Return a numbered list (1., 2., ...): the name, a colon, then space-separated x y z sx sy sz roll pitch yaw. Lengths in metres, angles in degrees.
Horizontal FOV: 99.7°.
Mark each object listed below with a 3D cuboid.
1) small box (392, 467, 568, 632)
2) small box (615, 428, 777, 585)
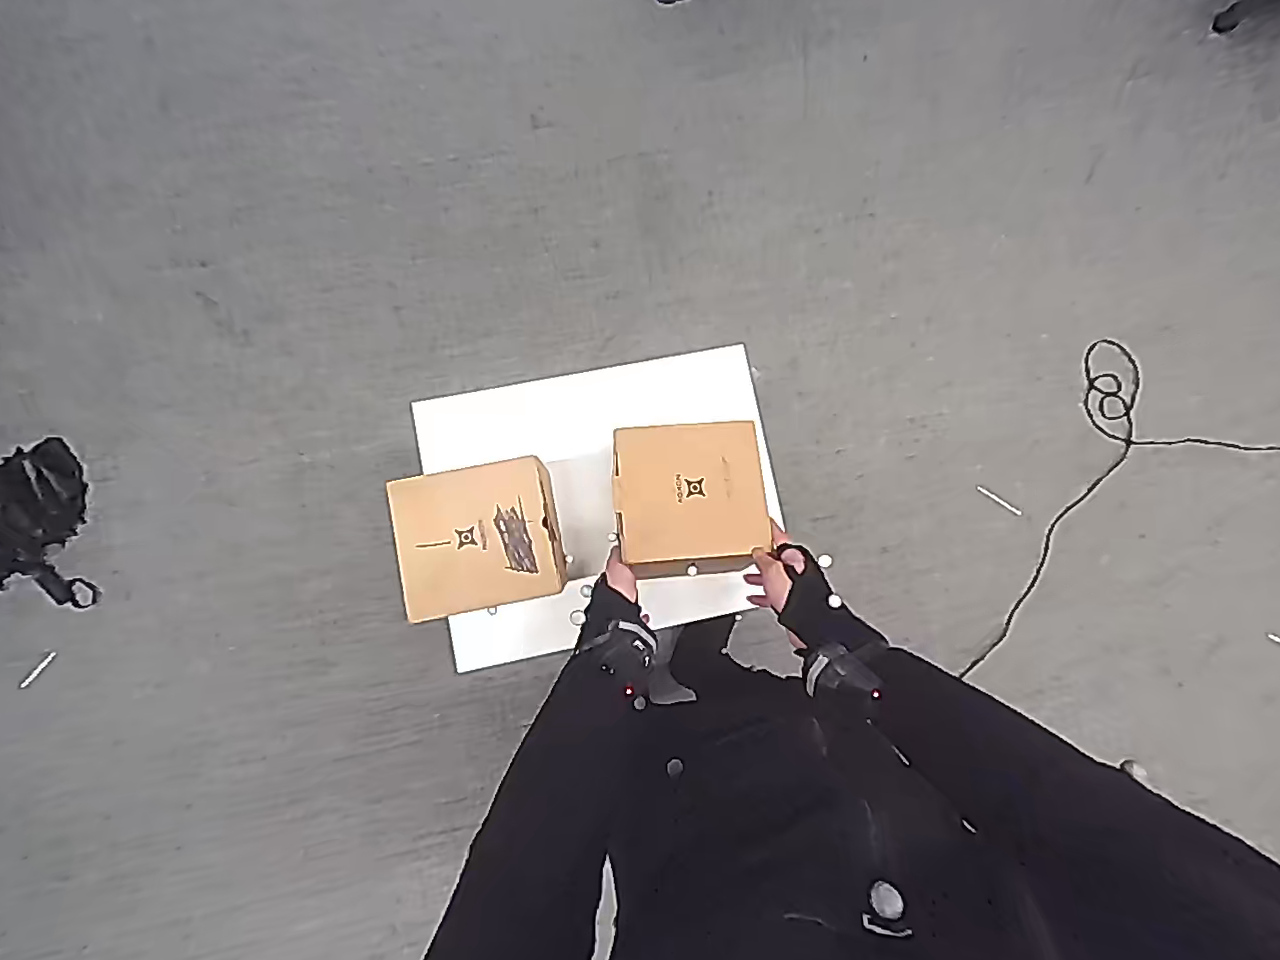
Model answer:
1. small box: -0.192 0.085 0.700 0.179 0.176 0.168 -11 84 -5
2. small box: 0.060 0.043 0.711 0.179 0.176 0.168 -5 74 -5
